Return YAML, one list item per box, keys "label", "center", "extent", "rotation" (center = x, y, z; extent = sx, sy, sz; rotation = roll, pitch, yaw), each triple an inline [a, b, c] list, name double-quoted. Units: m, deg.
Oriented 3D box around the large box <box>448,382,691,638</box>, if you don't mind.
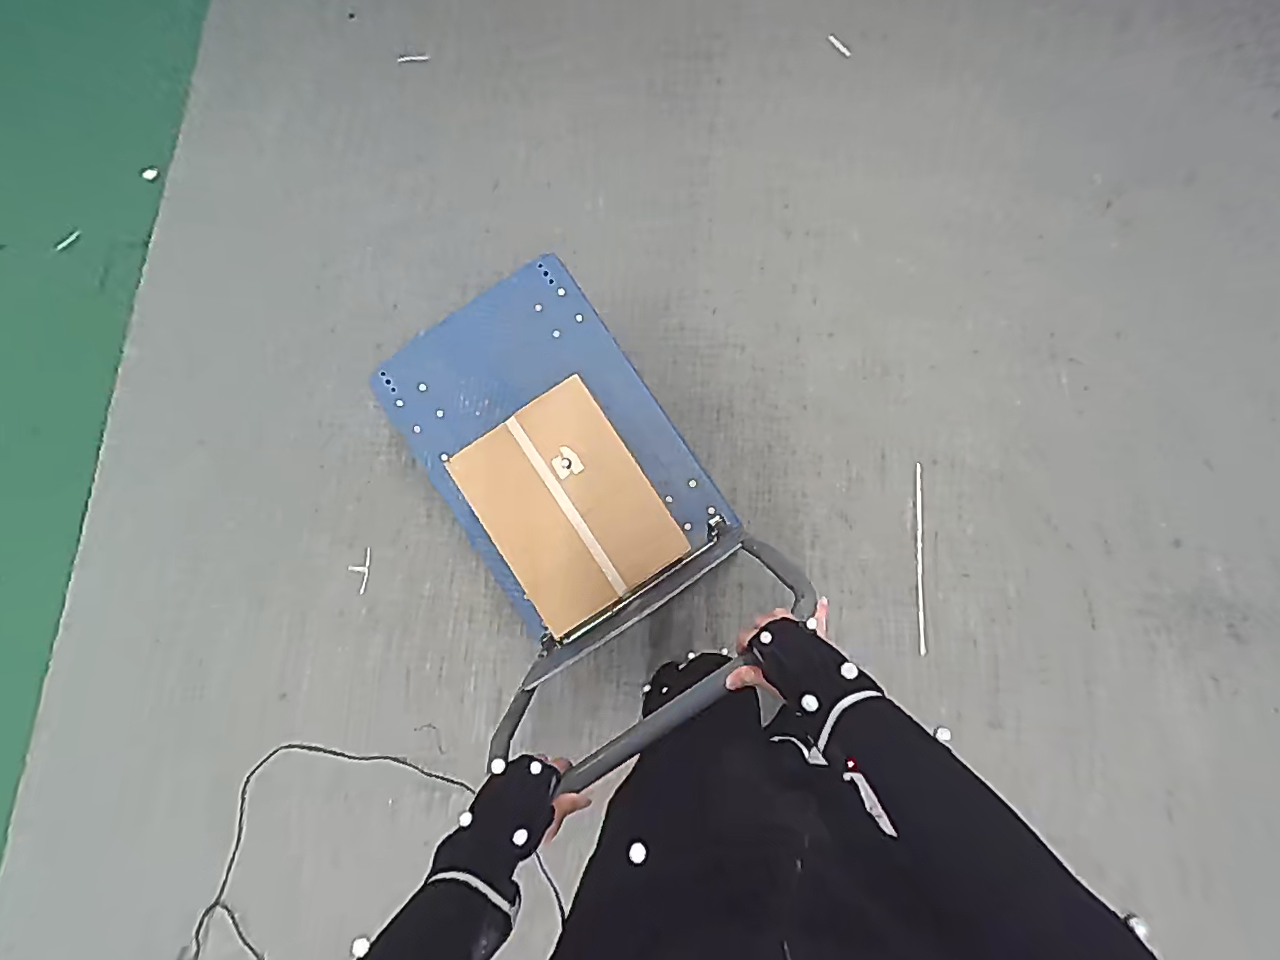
- label: "large box"
  center: [-0.127, 0.064, 1.177]
  extent: [0.320, 0.320, 0.408]
  rotation: [-35, 85, 0]
